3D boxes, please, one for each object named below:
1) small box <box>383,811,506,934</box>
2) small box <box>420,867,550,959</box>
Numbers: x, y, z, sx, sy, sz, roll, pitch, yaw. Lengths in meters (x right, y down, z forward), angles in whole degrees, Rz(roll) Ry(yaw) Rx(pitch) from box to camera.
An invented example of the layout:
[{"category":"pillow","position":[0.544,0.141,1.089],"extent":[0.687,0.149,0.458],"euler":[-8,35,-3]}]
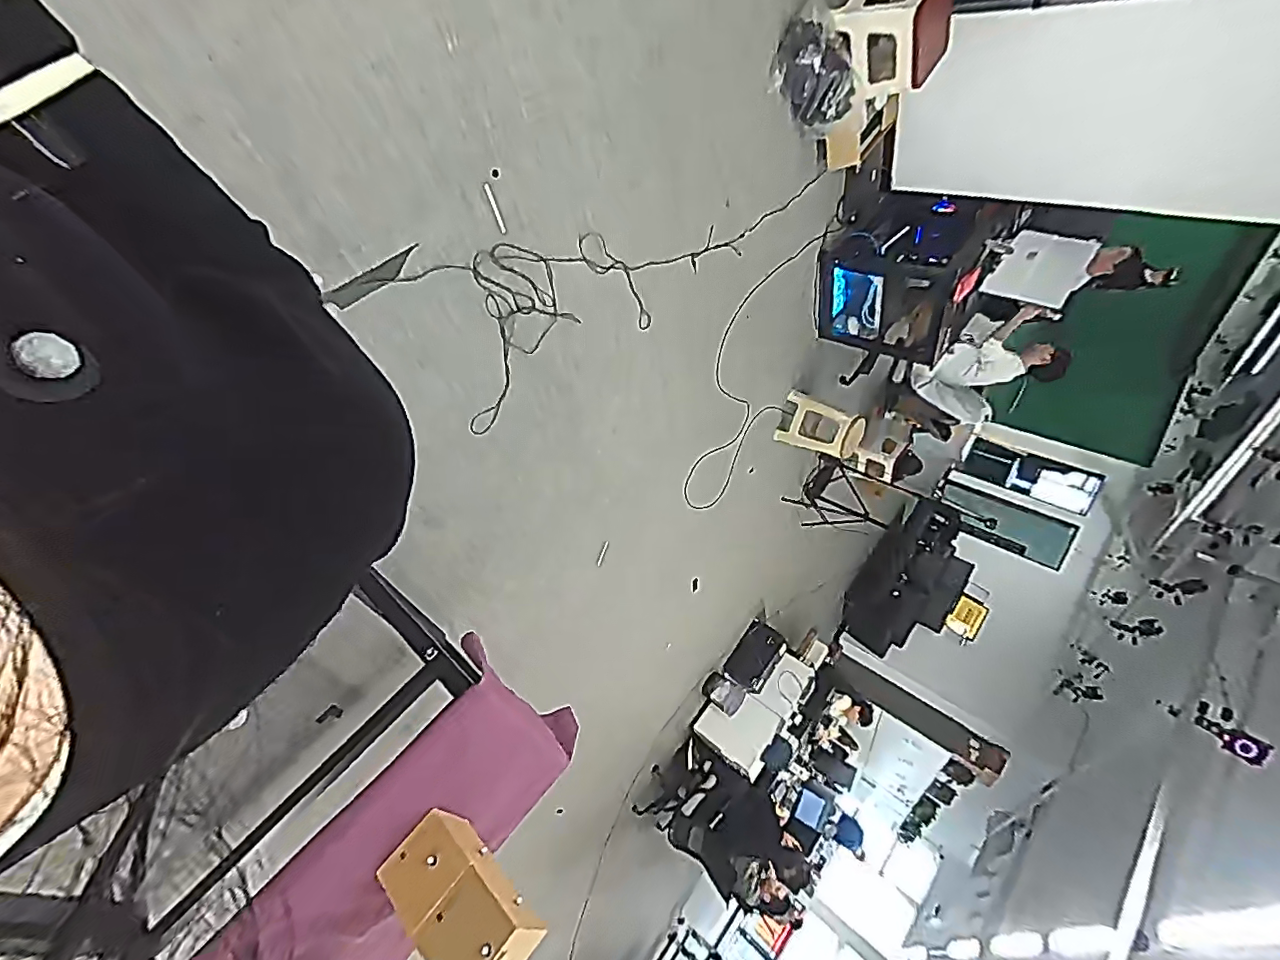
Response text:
[{"category":"small box","position":[-0.451,0.902,1.246],"extent":[0.168,0.176,0.179],"euler":[-46,143,-23]},{"category":"small box","position":[-0.330,0.970,1.158],"extent":[0.168,0.176,0.179],"euler":[-47,144,-22]}]
